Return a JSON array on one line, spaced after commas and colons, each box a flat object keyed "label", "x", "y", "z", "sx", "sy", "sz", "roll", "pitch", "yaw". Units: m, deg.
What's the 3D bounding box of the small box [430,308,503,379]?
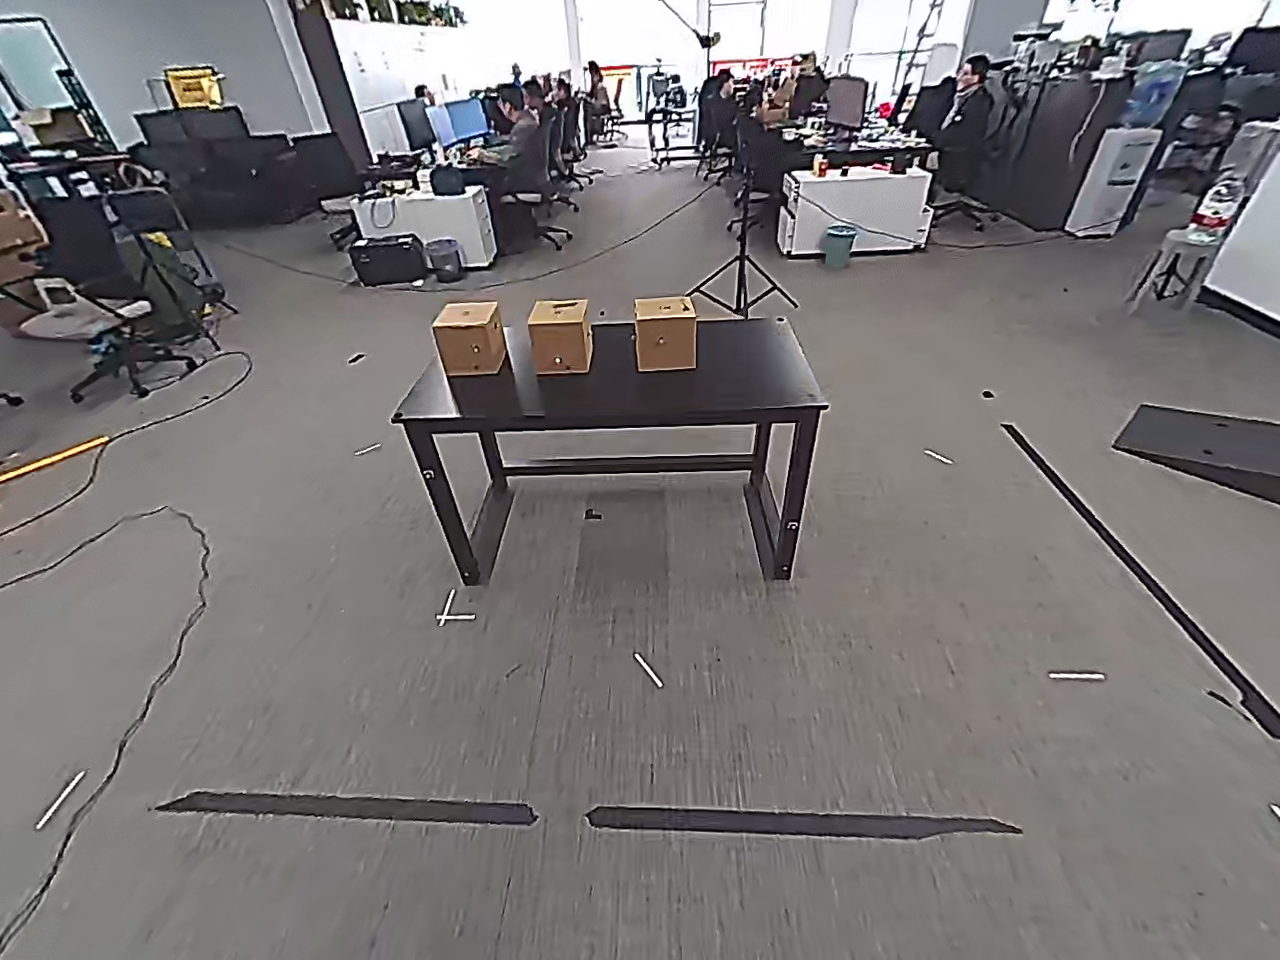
[{"label": "small box", "x": -0.540, "y": -0.431, "z": 1.714, "sx": 0.168, "sy": 0.176, "sz": 0.179, "roll": -2, "pitch": 38, "yaw": 0}]

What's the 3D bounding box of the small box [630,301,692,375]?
[{"label": "small box", "x": 0.064, "y": -0.438, "z": 1.678, "sx": 0.179, "sy": 0.176, "sz": 0.168, "roll": -5, "pitch": 39, "yaw": -1}]

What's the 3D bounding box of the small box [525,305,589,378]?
[{"label": "small box", "x": -0.253, "y": -0.434, "z": 1.695, "sx": 0.168, "sy": 0.176, "sz": 0.179, "roll": -2, "pitch": 39, "yaw": 2}]
